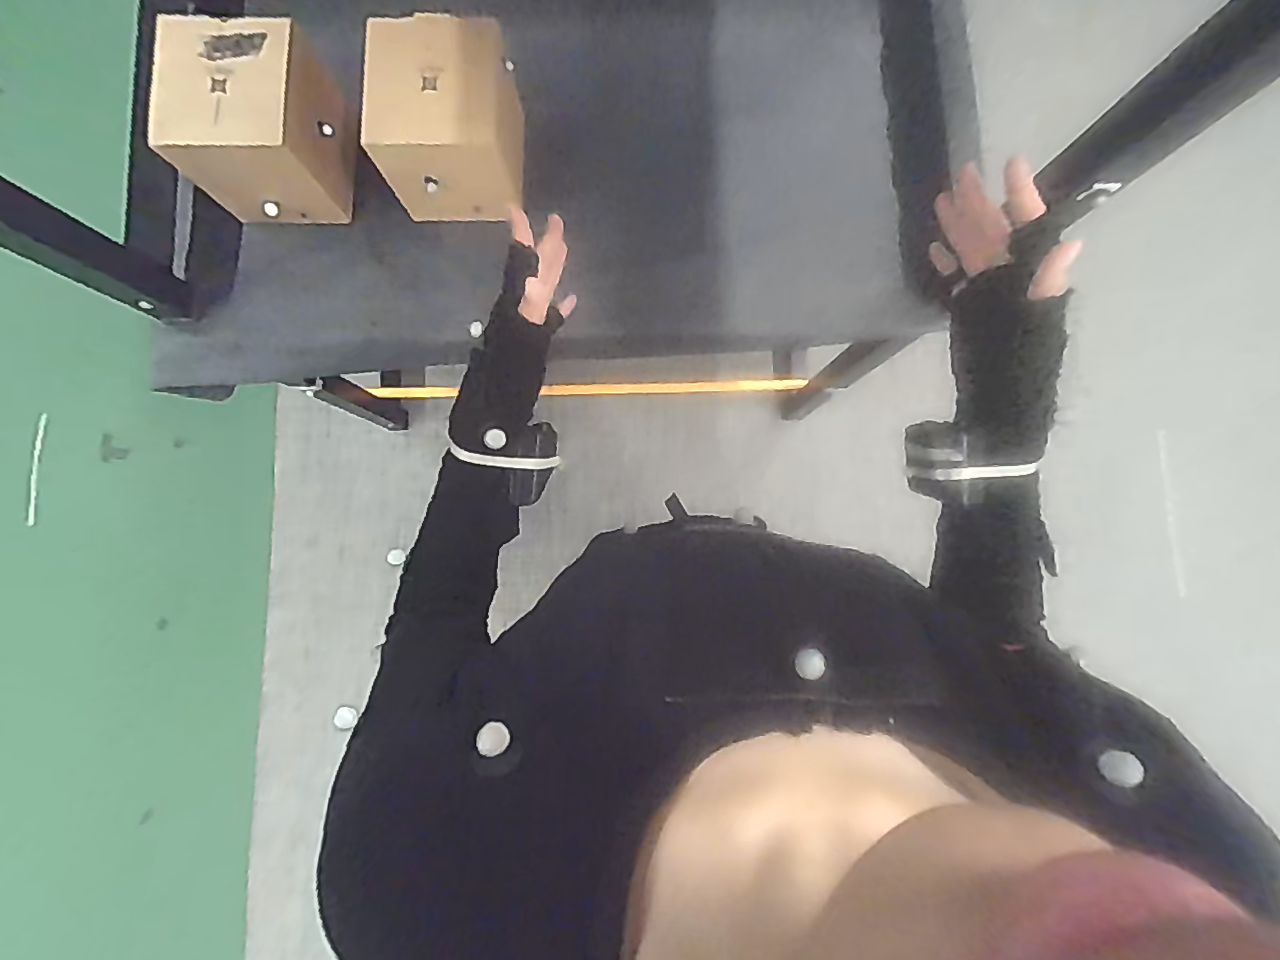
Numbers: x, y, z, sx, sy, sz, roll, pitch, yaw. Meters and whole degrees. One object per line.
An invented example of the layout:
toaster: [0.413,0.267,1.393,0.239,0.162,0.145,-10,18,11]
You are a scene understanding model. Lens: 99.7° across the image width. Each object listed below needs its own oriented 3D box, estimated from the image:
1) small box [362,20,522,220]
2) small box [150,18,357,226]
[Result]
small box: [-0.263,-0.487,0.755,0.168,0.176,0.179,-1,83,-1]
small box: [-0.515,-0.482,0.748,0.168,0.176,0.179,0,84,-1]
